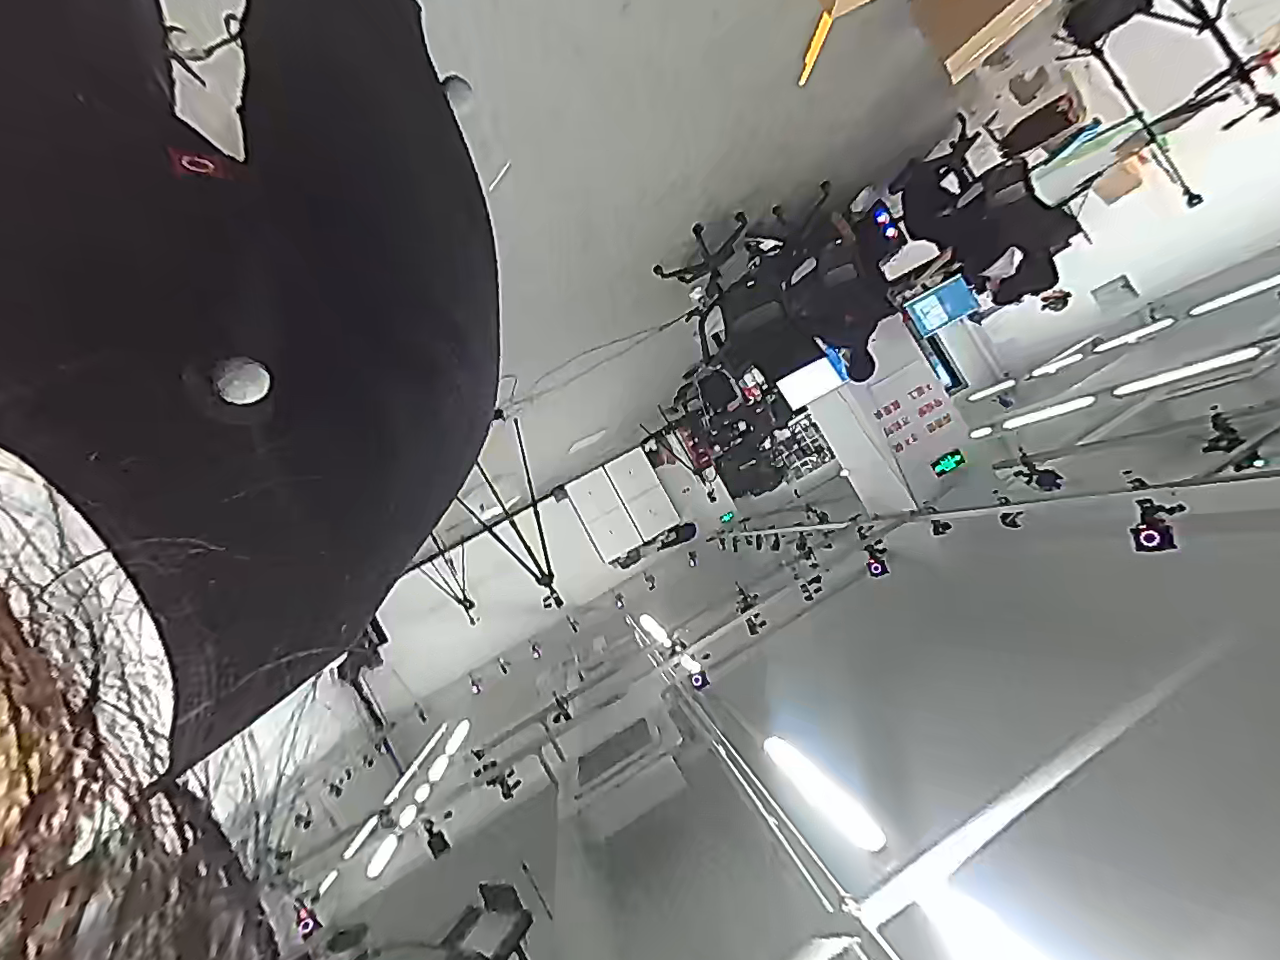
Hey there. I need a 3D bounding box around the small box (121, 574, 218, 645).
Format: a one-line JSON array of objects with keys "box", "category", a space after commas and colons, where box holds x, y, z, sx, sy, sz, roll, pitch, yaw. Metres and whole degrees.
[{"box": [-1.610, 0.436, 1.845, 0.179, 0.176, 0.168, -30, 176, -10], "category": "small box"}]
